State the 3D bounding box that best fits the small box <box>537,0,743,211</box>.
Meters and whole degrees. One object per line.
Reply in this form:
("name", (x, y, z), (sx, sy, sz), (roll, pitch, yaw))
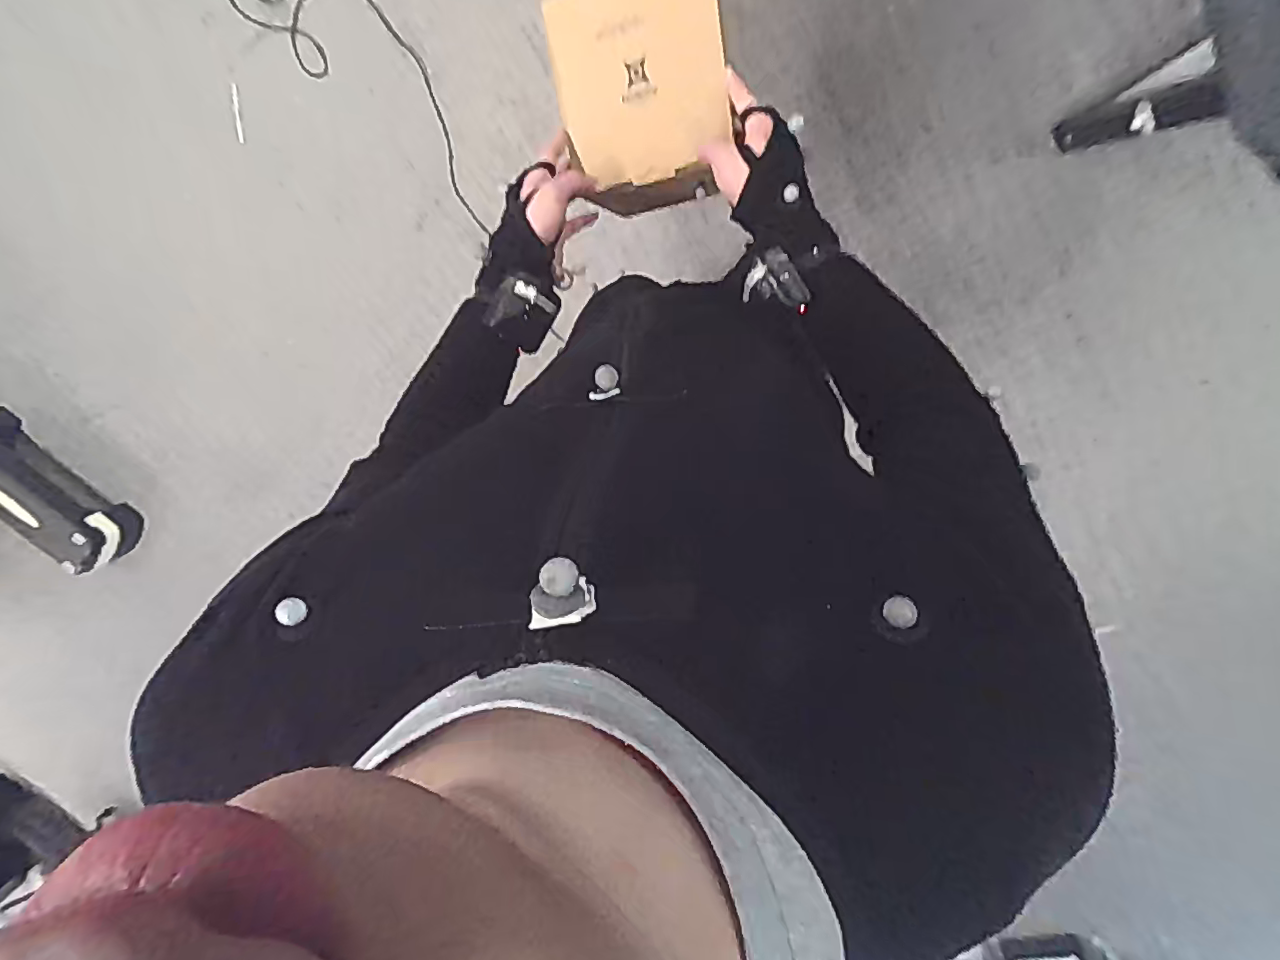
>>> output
("small box", (0.015, -0.407, 0.586), (0.168, 0.176, 0.179), (-6, 105, 17))
